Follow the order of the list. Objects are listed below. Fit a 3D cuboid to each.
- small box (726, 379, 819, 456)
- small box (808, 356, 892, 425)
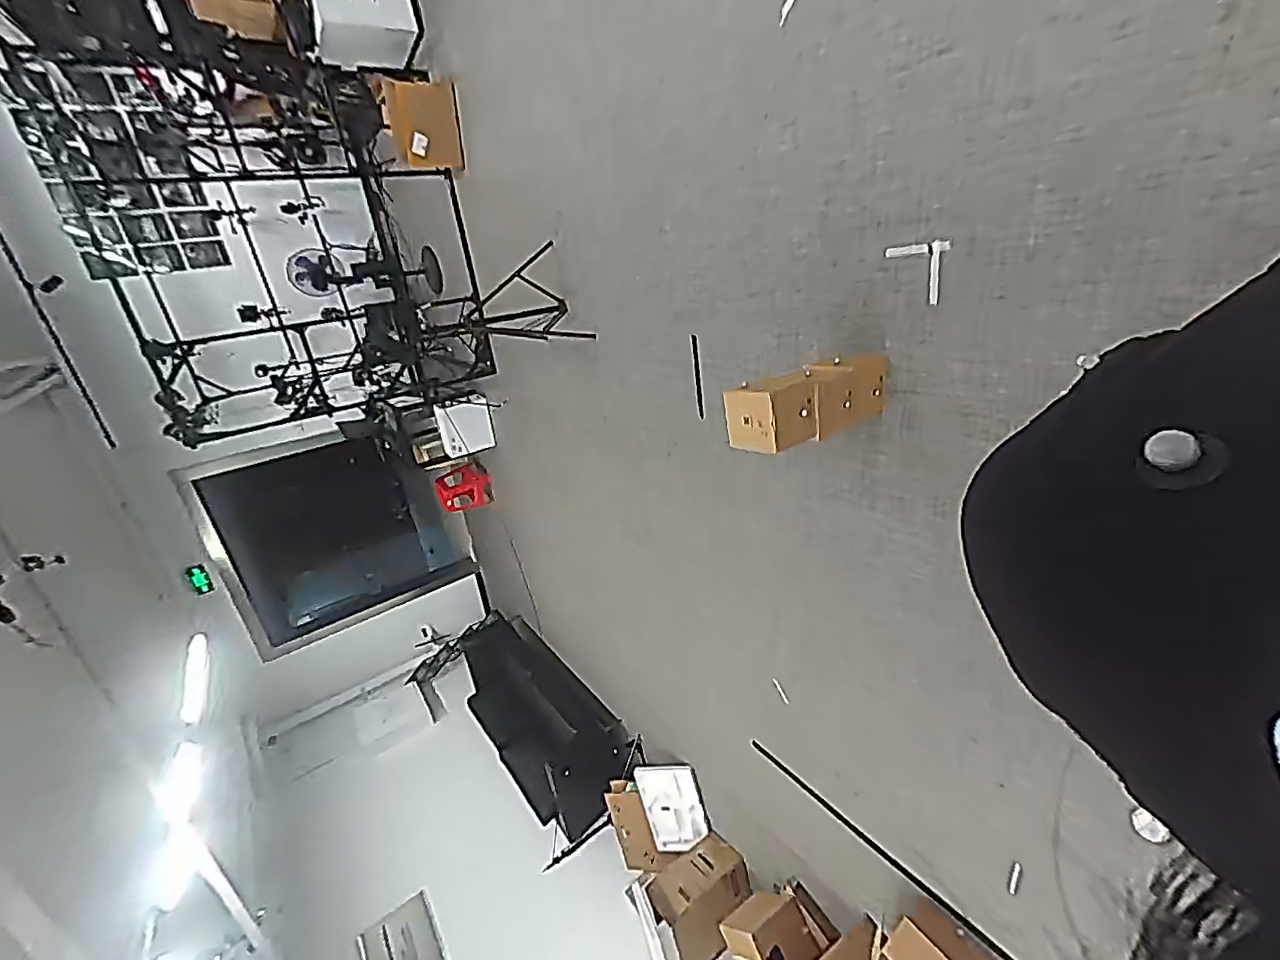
[{"bbox_3d":[0.364,-0.177,1.481,0.179,0.176,0.168,15,121,53],"label":"small box"},{"bbox_3d":[0.634,-0.276,1.642,0.179,0.176,0.168,21,126,52],"label":"small box"}]
